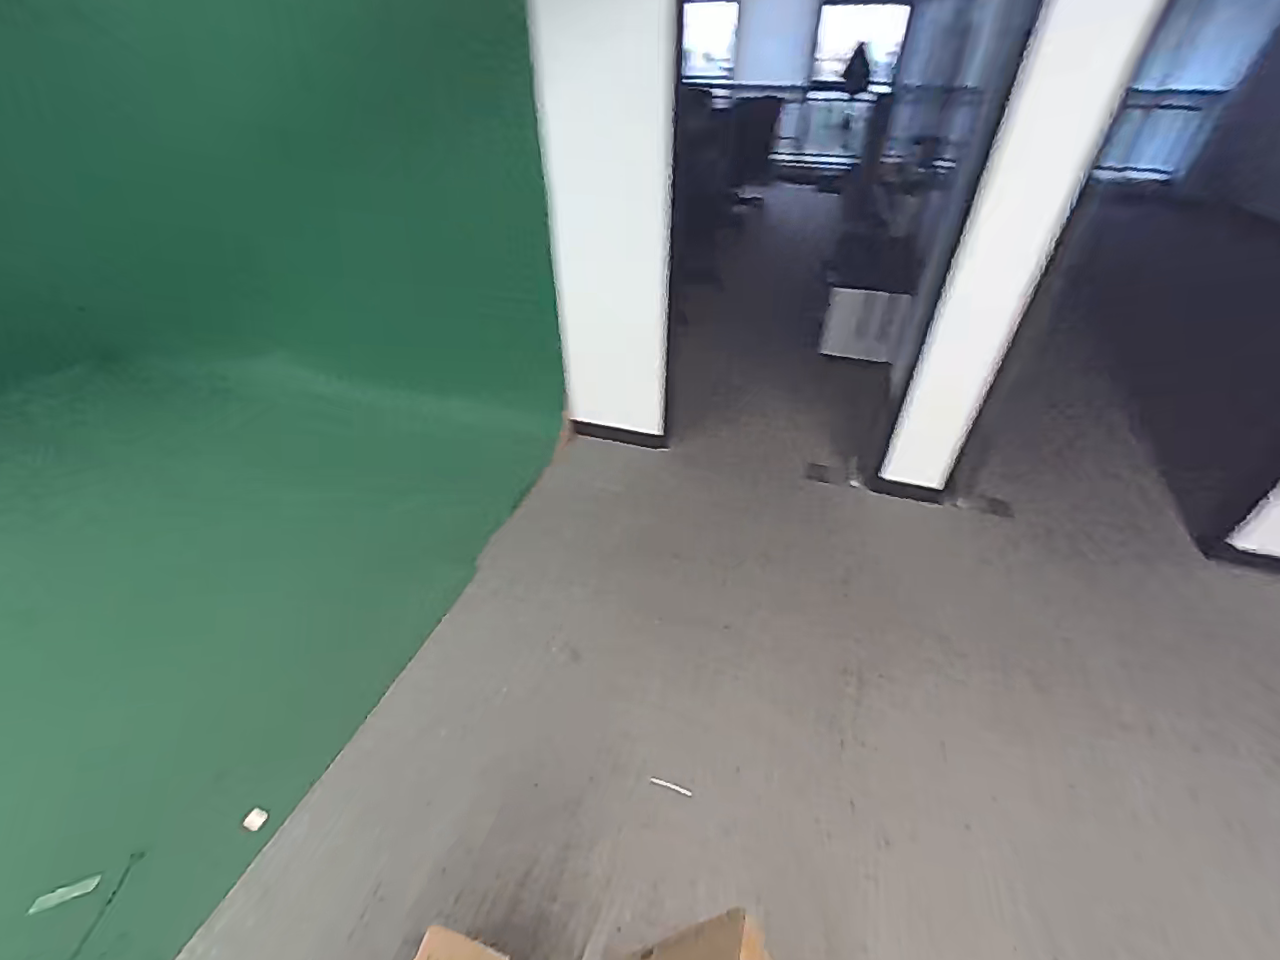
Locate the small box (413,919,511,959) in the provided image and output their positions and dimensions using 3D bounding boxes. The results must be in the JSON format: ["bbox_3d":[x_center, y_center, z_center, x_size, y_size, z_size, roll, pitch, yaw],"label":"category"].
[{"bbox_3d":[-0.352,0.995,1.039,0.179,0.176,0.168,12,40,14],"label":"small box"}]
